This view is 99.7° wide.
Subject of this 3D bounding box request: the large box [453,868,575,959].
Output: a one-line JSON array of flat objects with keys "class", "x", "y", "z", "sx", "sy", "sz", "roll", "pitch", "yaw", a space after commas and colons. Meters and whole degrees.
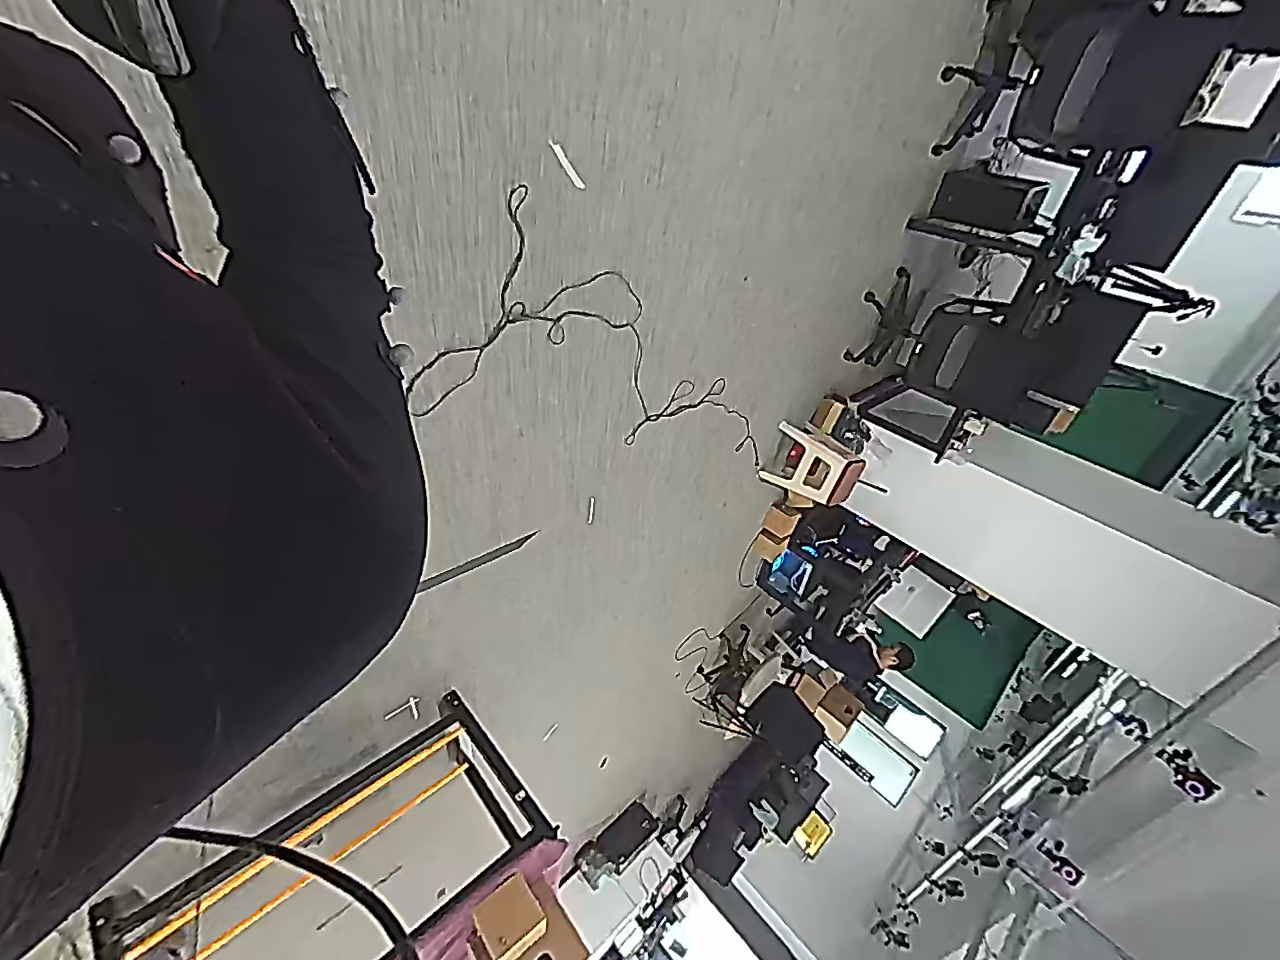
[{"class": "large box", "x": -0.449, "y": 1.718, "z": 1.951, "sx": 0.320, "sy": 0.320, "sz": 0.408, "roll": -23, "pitch": 135, "yaw": -37}]
